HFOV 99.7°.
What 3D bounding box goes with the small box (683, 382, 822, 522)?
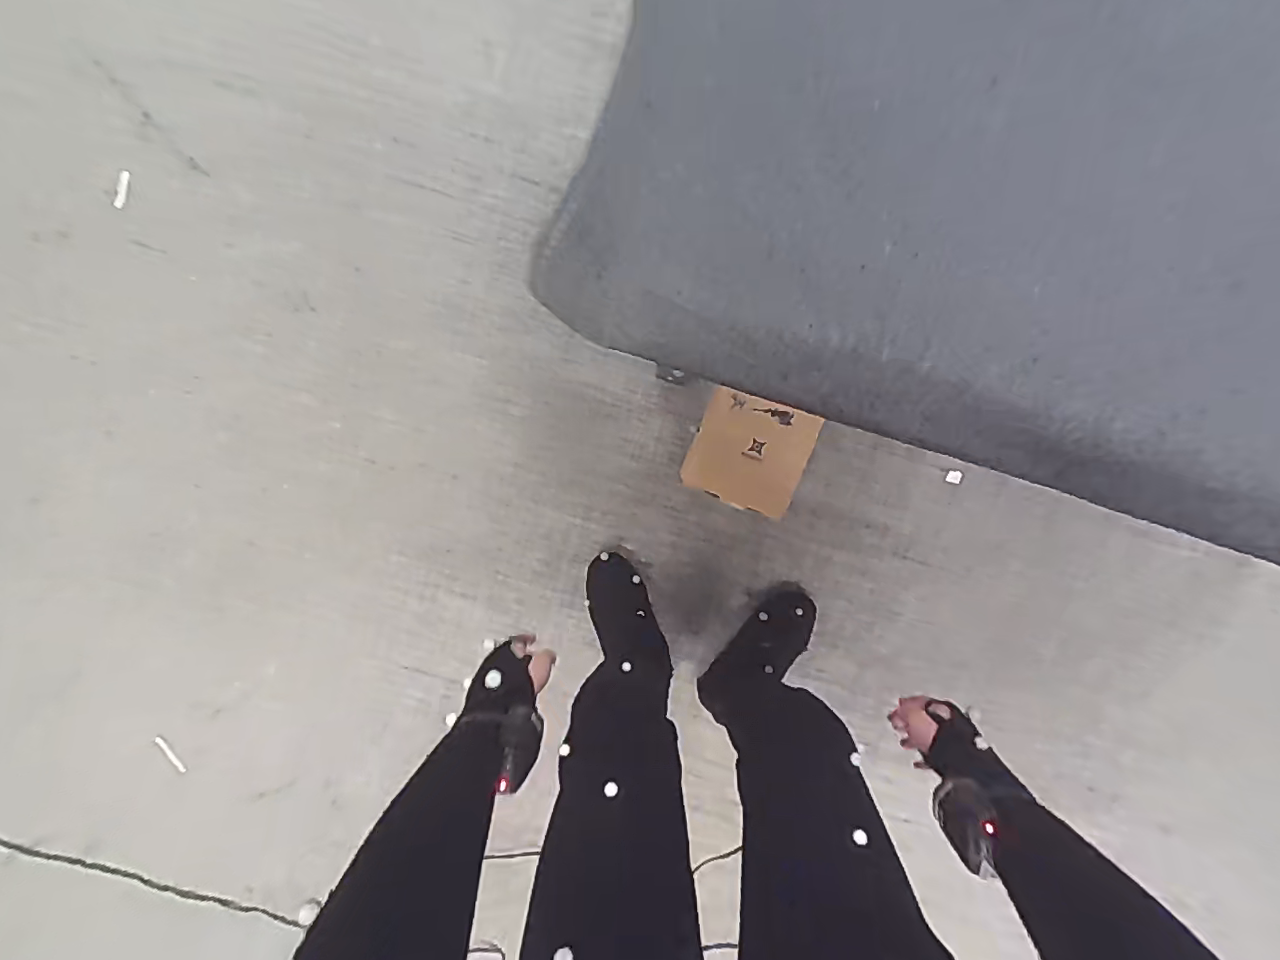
[{"bbox_3d":[0.177,-0.050,0.910,0.168,0.176,0.179,21,96,-1],"label":"small box"}]
